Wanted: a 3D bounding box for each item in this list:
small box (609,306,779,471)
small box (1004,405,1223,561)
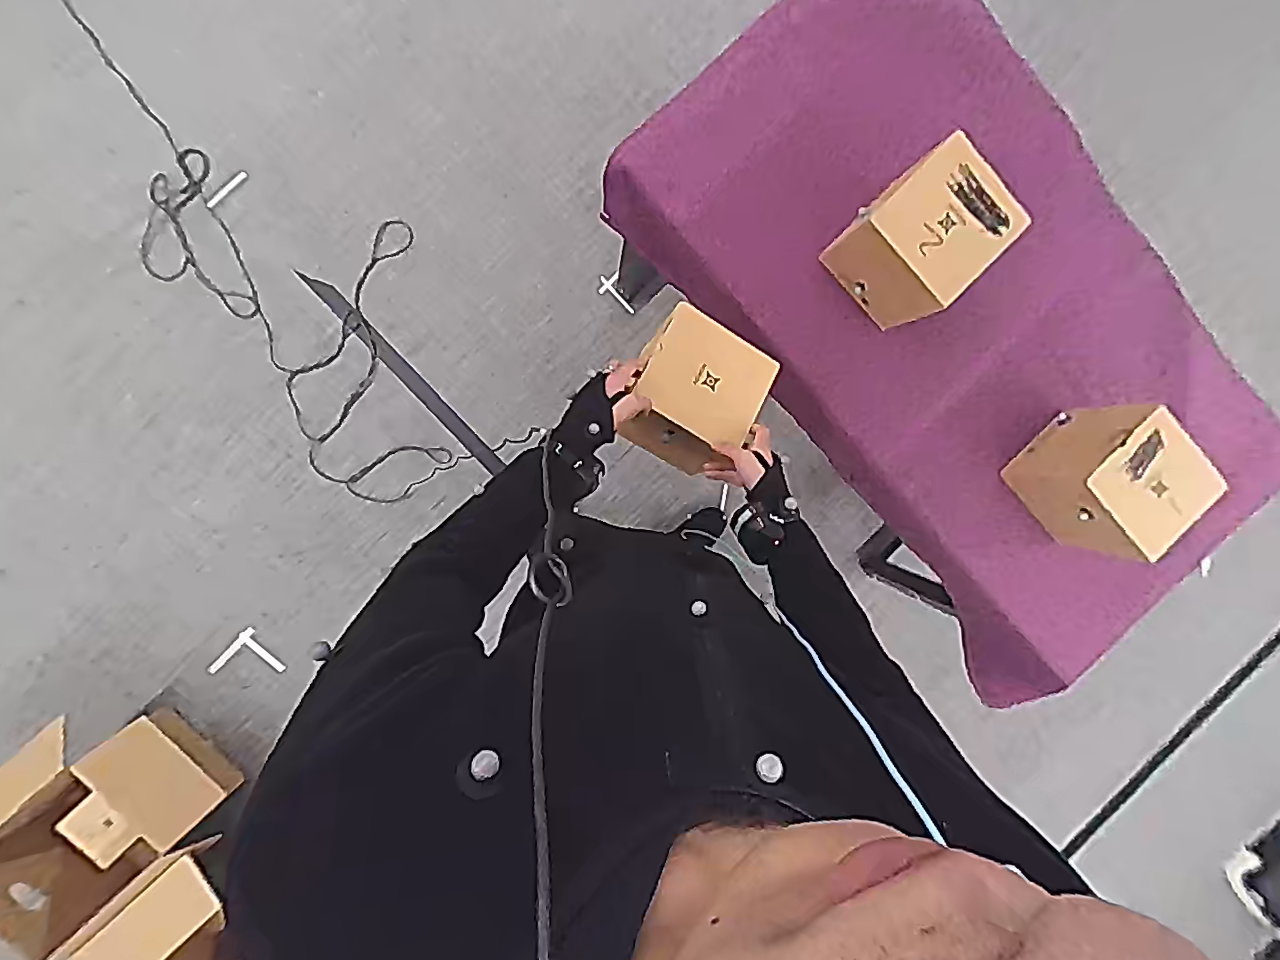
[{"bbox_3d":[0.074,-0.126,0.830,0.179,0.176,0.168,29,76,-9],"label":"small box"},{"bbox_3d":[0.749,0.002,0.876,0.168,0.176,0.179,-44,97,-1],"label":"small box"}]
